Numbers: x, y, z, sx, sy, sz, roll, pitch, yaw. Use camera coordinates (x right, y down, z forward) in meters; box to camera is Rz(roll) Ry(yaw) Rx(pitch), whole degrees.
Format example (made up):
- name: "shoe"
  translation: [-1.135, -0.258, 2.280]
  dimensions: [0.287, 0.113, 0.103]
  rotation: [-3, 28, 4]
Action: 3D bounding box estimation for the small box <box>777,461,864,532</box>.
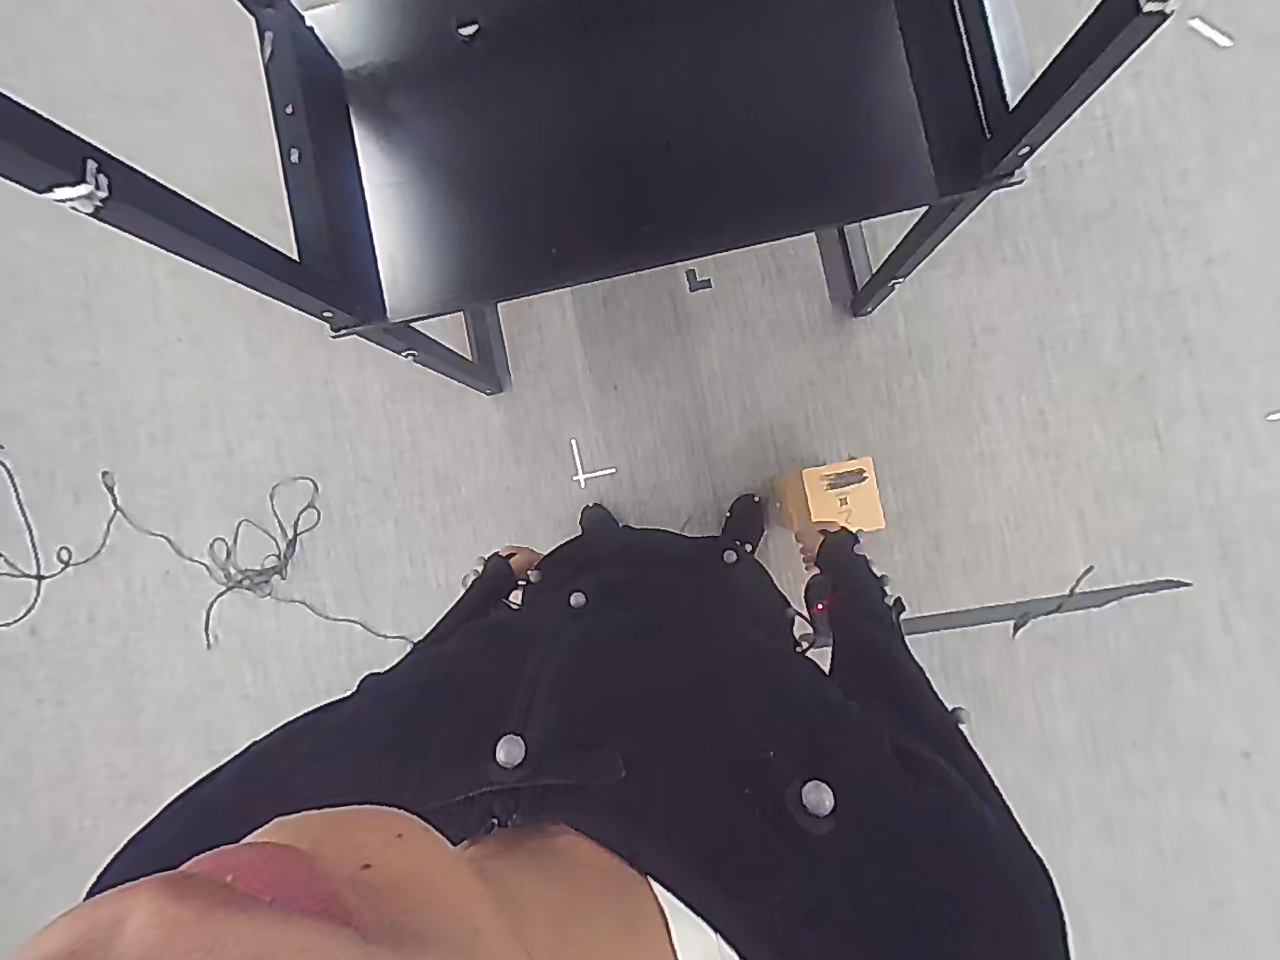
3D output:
- name: "small box"
  translation: [0.498, 0.043, 1.512]
  dimensions: [0.179, 0.176, 0.168]
  rotation: [-13, 88, 6]
